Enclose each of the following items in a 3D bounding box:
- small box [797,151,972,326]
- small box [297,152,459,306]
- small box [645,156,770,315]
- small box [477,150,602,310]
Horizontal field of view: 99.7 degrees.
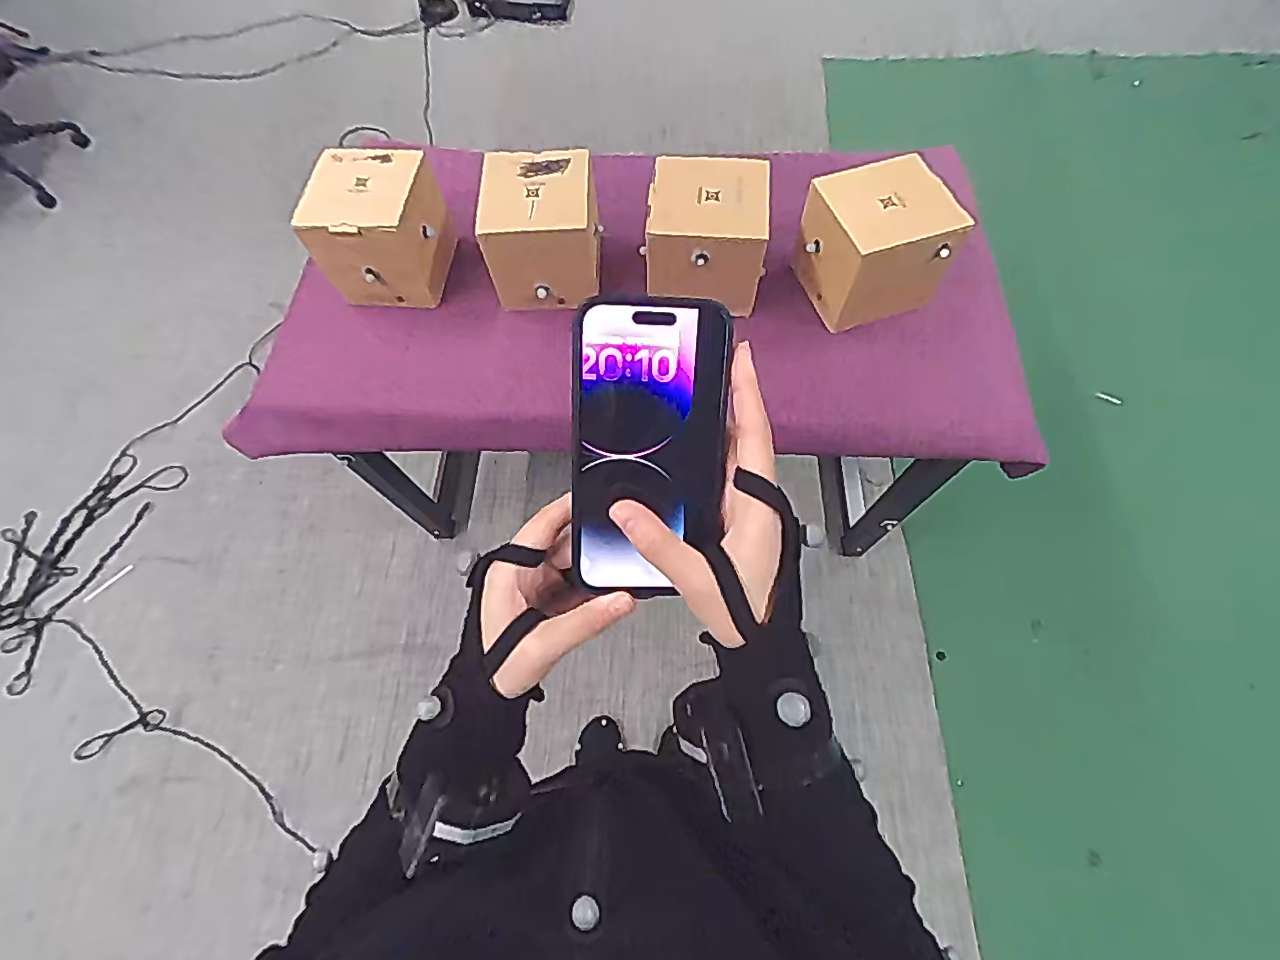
[{"bbox_3d":[0.362,-0.369,0.848,0.179,0.176,0.168,-17,65,-6],"label":"small box"},{"bbox_3d":[-0.421,-0.412,0.903,0.168,0.176,0.179,3,67,3],"label":"small box"},{"bbox_3d":[0.105,-0.386,0.869,0.179,0.176,0.168,5,67,4],"label":"small box"},{"bbox_3d":[-0.153,-0.404,0.887,0.168,0.176,0.179,-2,66,2],"label":"small box"}]
